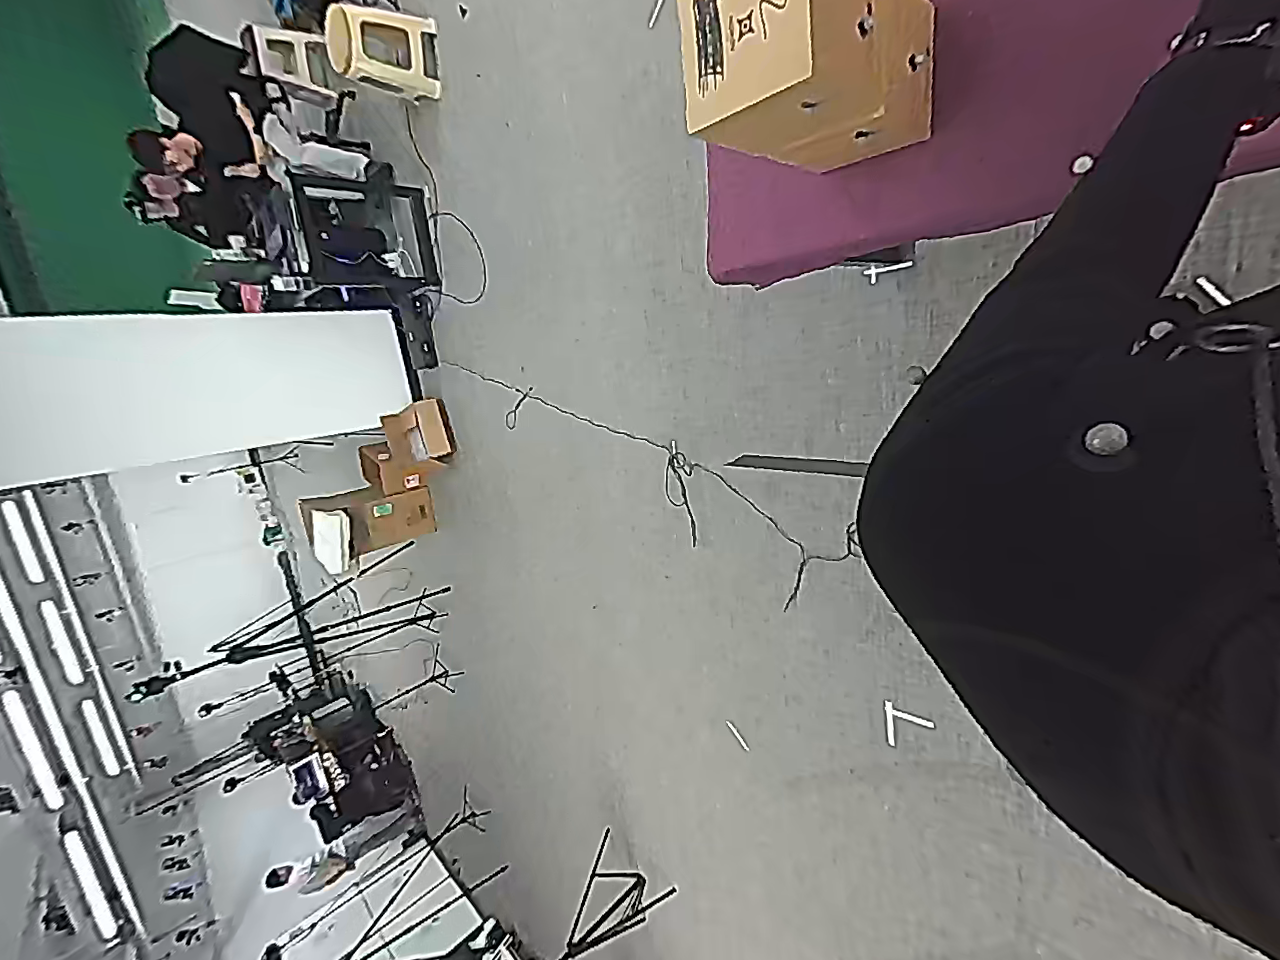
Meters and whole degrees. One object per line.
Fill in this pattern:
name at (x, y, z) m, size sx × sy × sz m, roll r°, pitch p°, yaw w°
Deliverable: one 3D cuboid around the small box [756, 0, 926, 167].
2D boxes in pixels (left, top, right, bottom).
small box at (0.286, -0.563, 0.764) m, size 0.179 × 0.176 × 0.168 m, roll 10°, pitch 111°, yaw 45°
